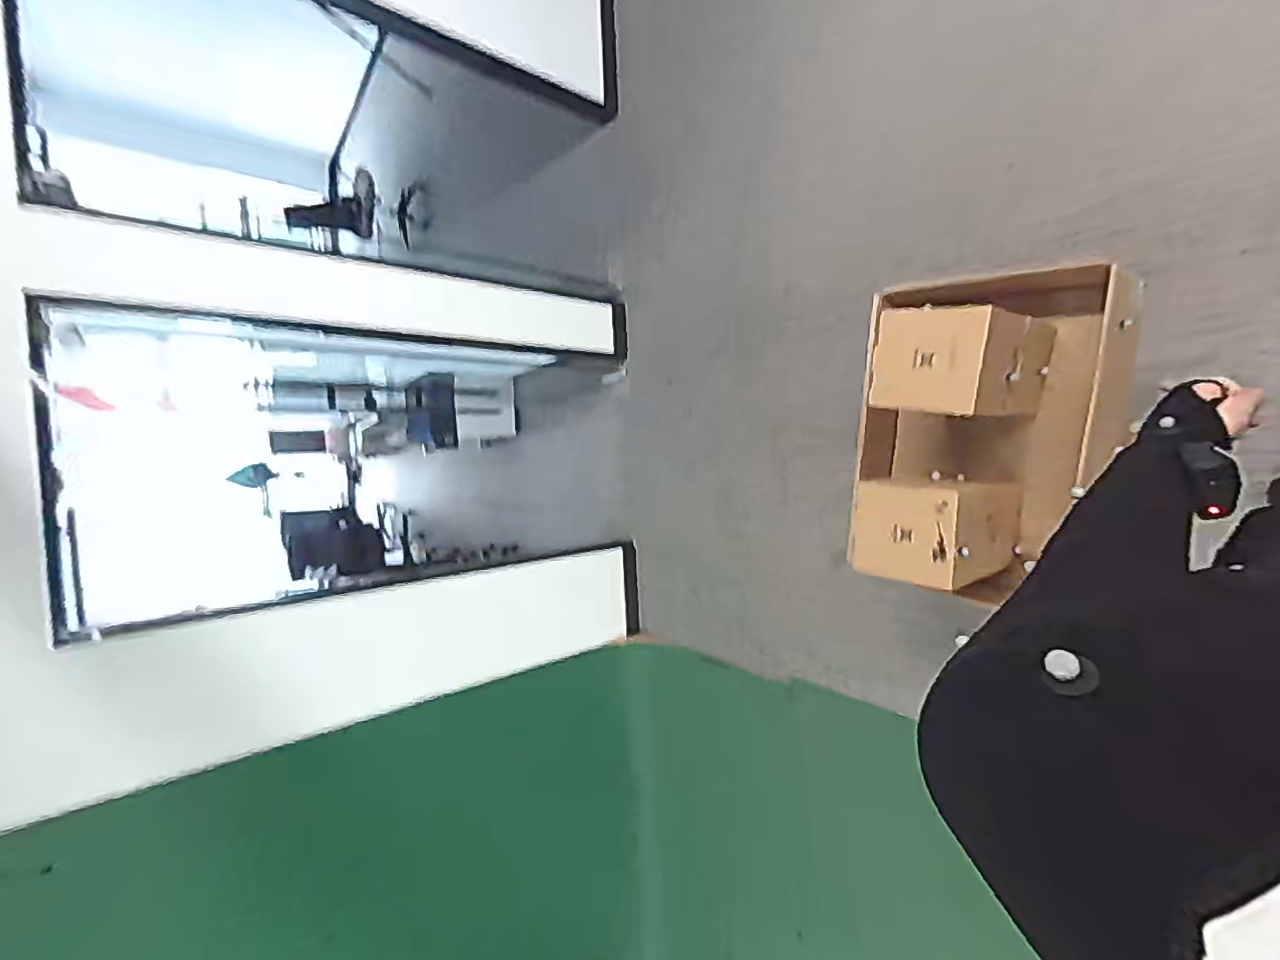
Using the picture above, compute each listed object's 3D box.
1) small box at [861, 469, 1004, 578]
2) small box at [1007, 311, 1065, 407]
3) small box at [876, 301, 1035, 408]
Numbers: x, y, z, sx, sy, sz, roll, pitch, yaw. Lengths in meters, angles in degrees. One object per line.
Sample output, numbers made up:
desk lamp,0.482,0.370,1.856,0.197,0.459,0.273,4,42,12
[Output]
small box,0.540,0.070,1.003,0.179,0.176,0.168,9,102,52
small box,0.682,-0.234,1.052,0.179,0.176,0.168,20,110,50
small box,0.553,-0.217,0.954,0.179,0.176,0.168,19,109,50
